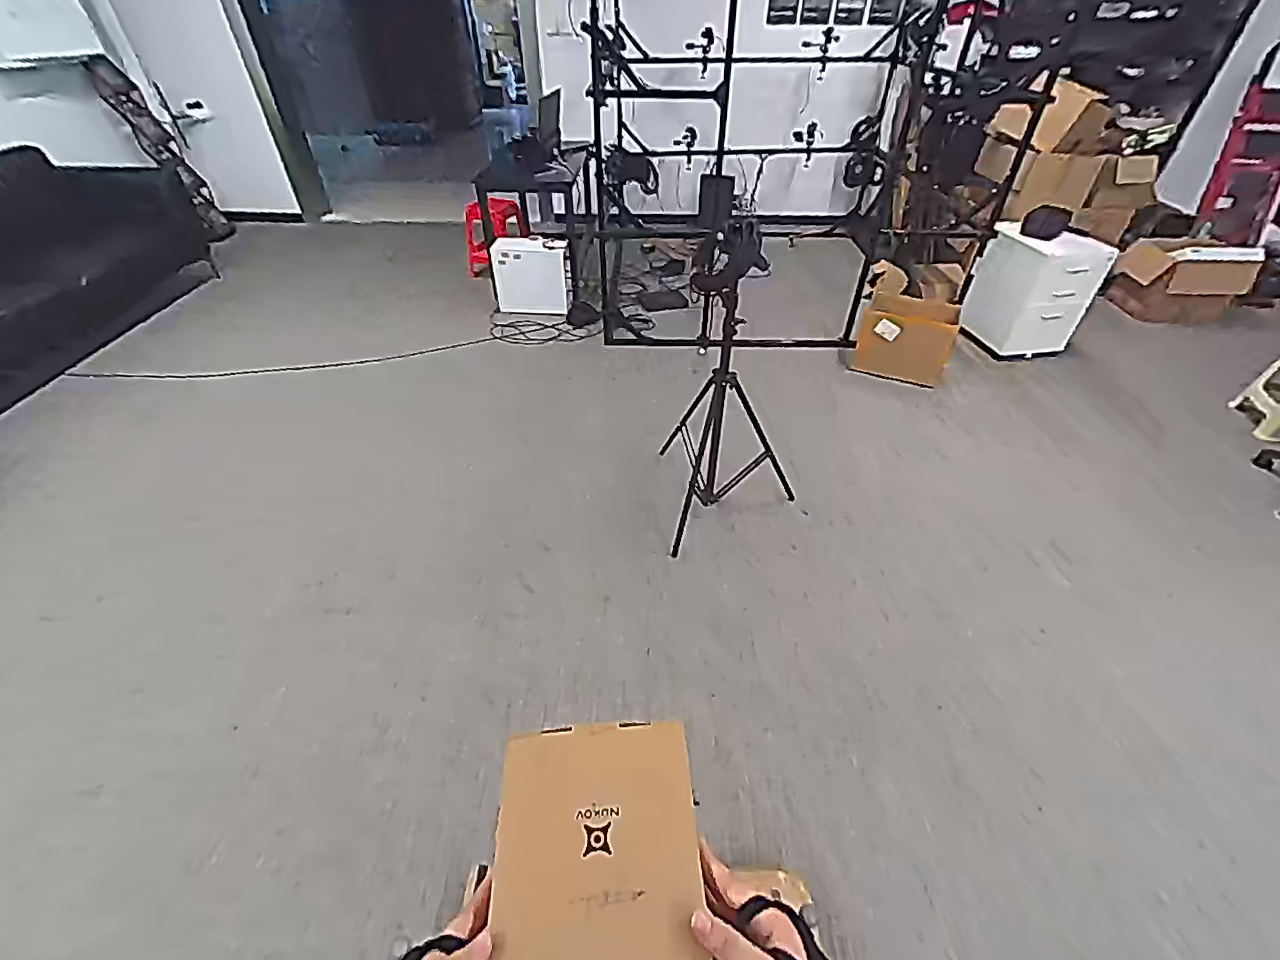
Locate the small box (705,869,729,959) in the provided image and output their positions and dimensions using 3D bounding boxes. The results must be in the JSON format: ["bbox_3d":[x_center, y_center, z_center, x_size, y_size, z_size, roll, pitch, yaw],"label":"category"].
[{"bbox_3d":[0.075,0.869,1.031,0.168,0.176,0.179,-1,41,-2],"label":"small box"}]

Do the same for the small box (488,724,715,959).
[{"bbox_3d":[-0.032,0.350,0.496,0.168,0.176,0.179,-3,44,-2],"label":"small box"}]
